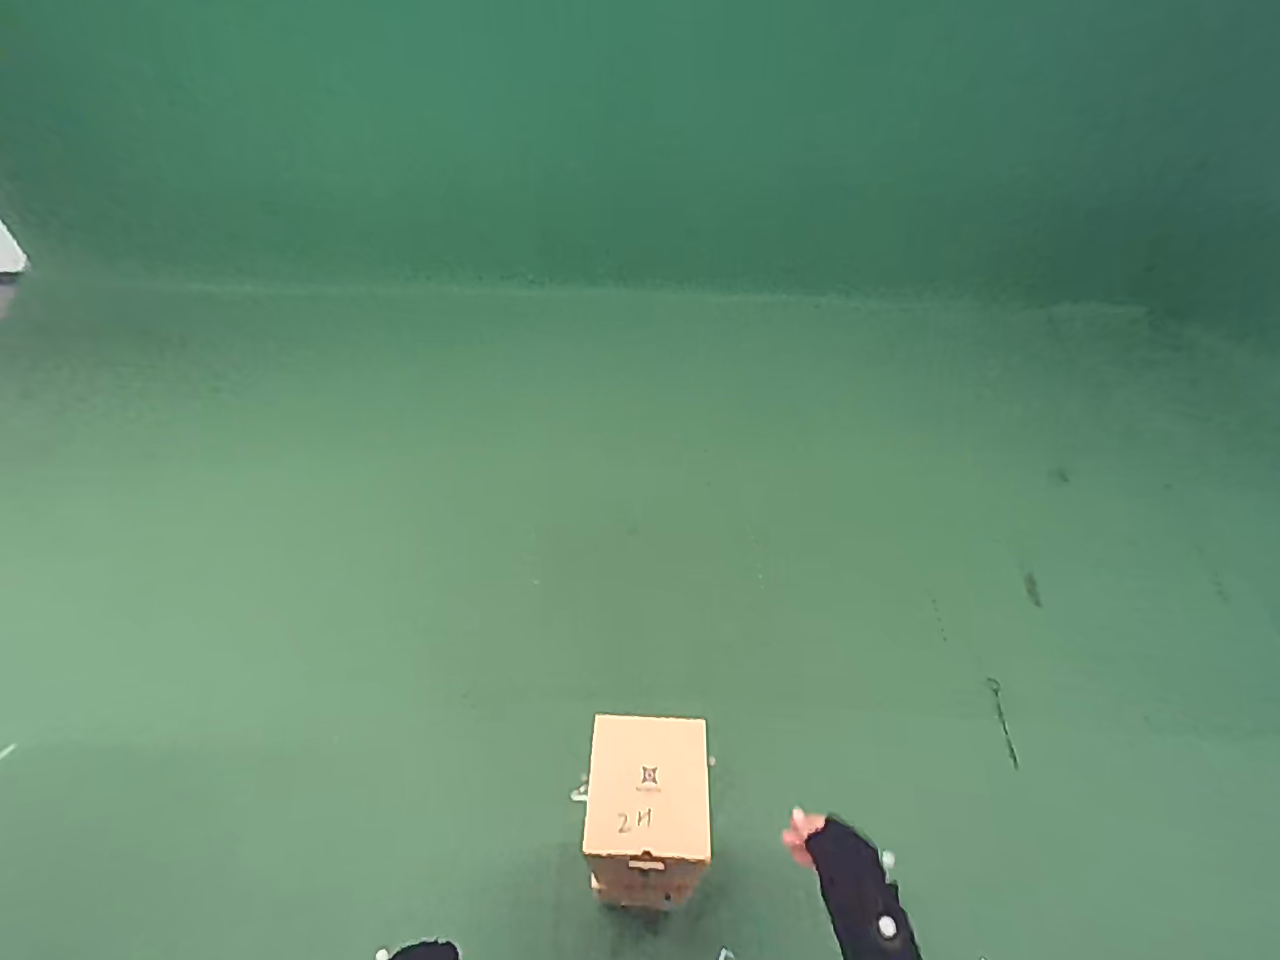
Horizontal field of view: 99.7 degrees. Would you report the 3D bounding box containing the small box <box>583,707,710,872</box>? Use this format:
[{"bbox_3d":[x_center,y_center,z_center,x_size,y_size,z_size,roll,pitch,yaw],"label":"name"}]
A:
[{"bbox_3d":[0.012,0.460,0.803,0.168,0.176,0.179,2,48,2],"label":"small box"}]

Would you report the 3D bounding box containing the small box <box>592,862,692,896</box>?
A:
[{"bbox_3d":[0.008,0.687,1.041,0.179,0.176,0.168,3,48,1],"label":"small box"}]

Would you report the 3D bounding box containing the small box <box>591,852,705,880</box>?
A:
[{"bbox_3d":[0.016,0.567,0.925,0.179,0.176,0.168,4,46,3],"label":"small box"}]
